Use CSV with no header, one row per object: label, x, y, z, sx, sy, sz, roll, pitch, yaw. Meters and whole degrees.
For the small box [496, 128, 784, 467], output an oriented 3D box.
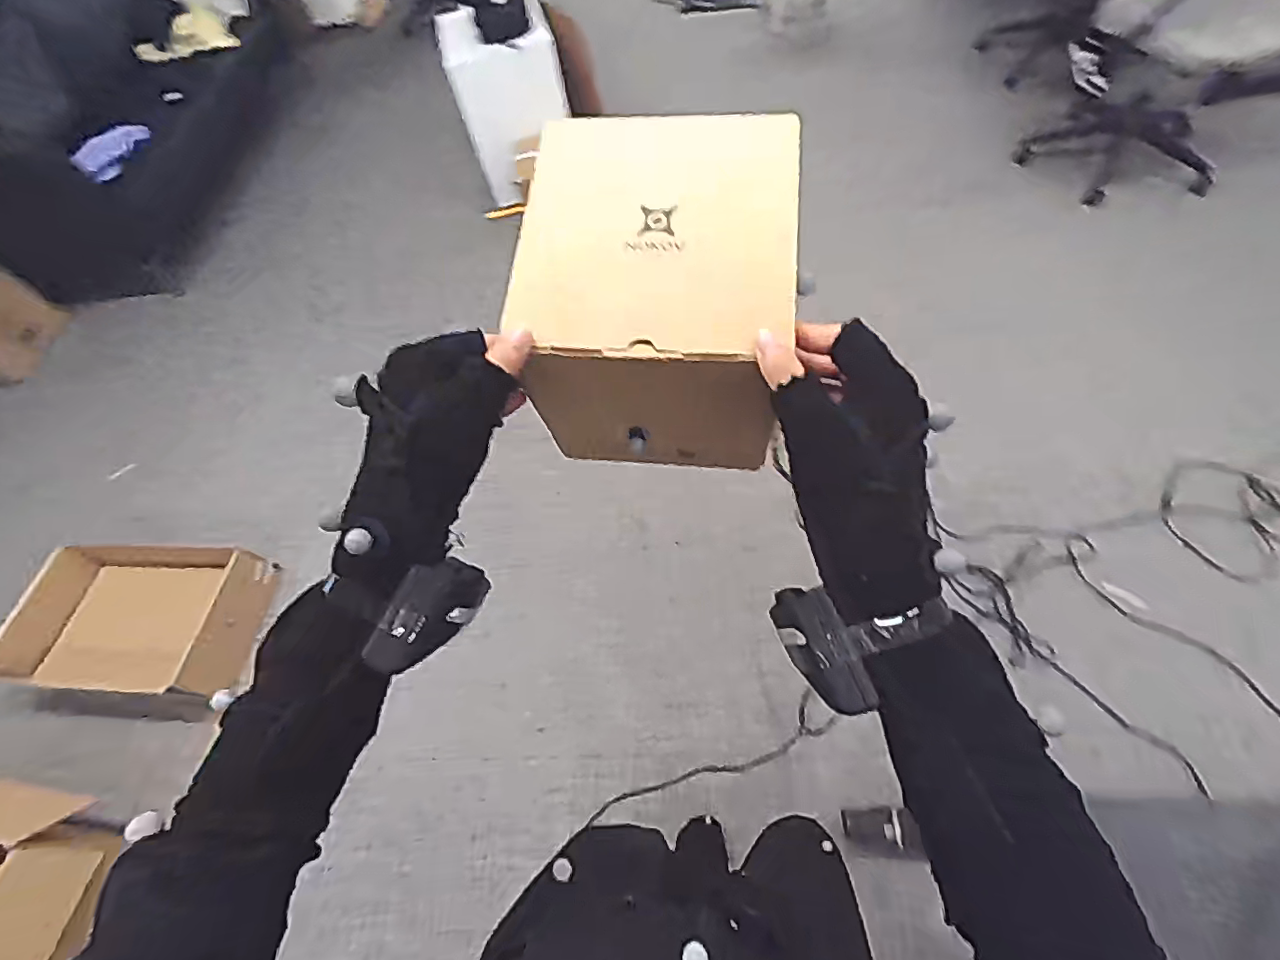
small box,0.011,-0.124,0.406,0.168,0.176,0.179,3,71,7
